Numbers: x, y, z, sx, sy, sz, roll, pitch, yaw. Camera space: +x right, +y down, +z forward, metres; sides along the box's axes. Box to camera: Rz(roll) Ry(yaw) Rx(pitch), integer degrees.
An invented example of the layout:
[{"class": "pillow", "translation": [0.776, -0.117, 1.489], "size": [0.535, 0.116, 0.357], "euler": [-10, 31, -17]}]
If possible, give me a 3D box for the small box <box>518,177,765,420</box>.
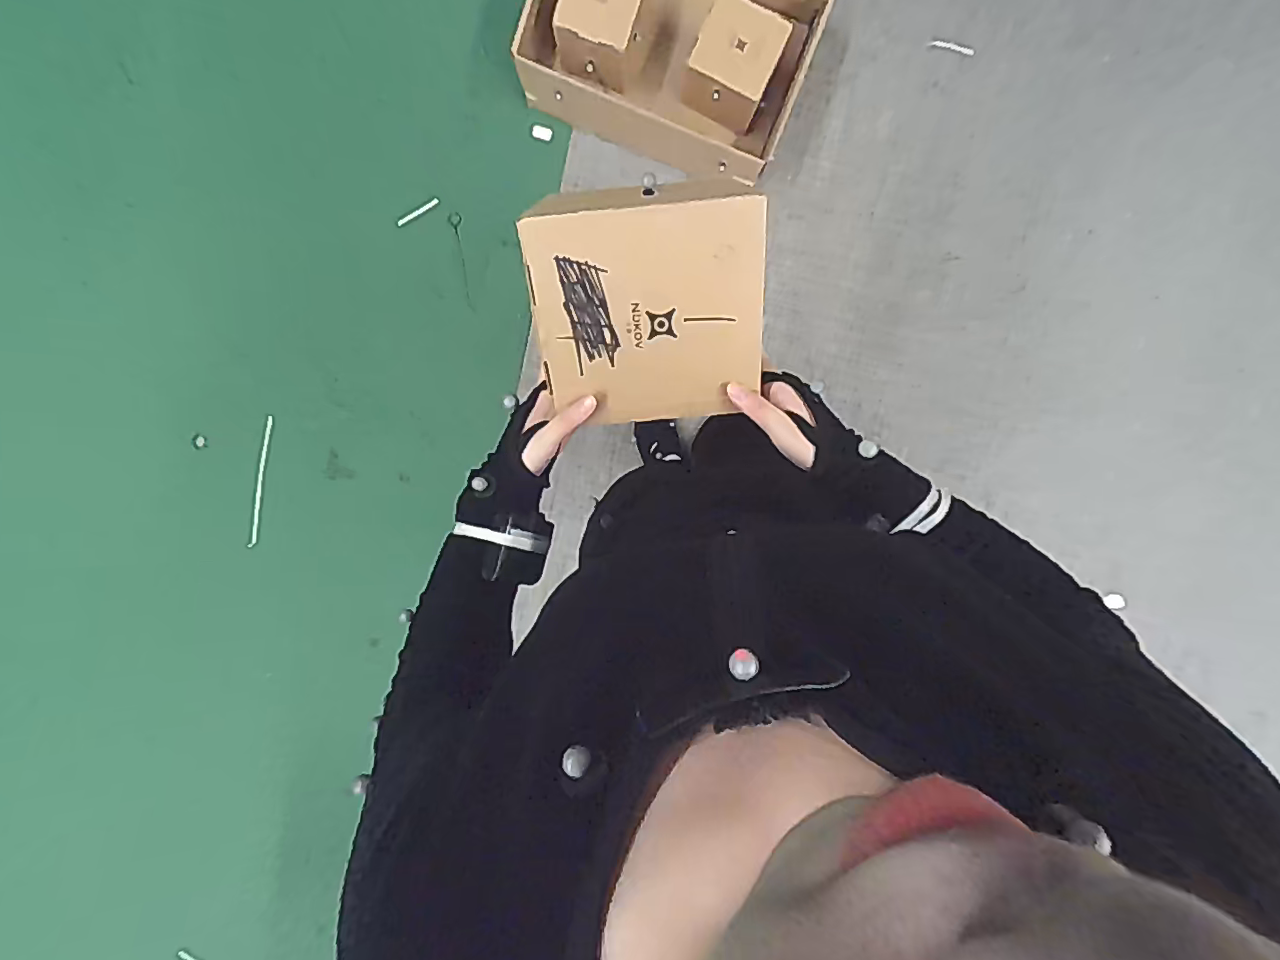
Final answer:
[{"class": "small box", "translation": [0.004, -0.168, 0.484], "size": [0.179, 0.176, 0.168], "euler": [-5, 123, 1]}]
